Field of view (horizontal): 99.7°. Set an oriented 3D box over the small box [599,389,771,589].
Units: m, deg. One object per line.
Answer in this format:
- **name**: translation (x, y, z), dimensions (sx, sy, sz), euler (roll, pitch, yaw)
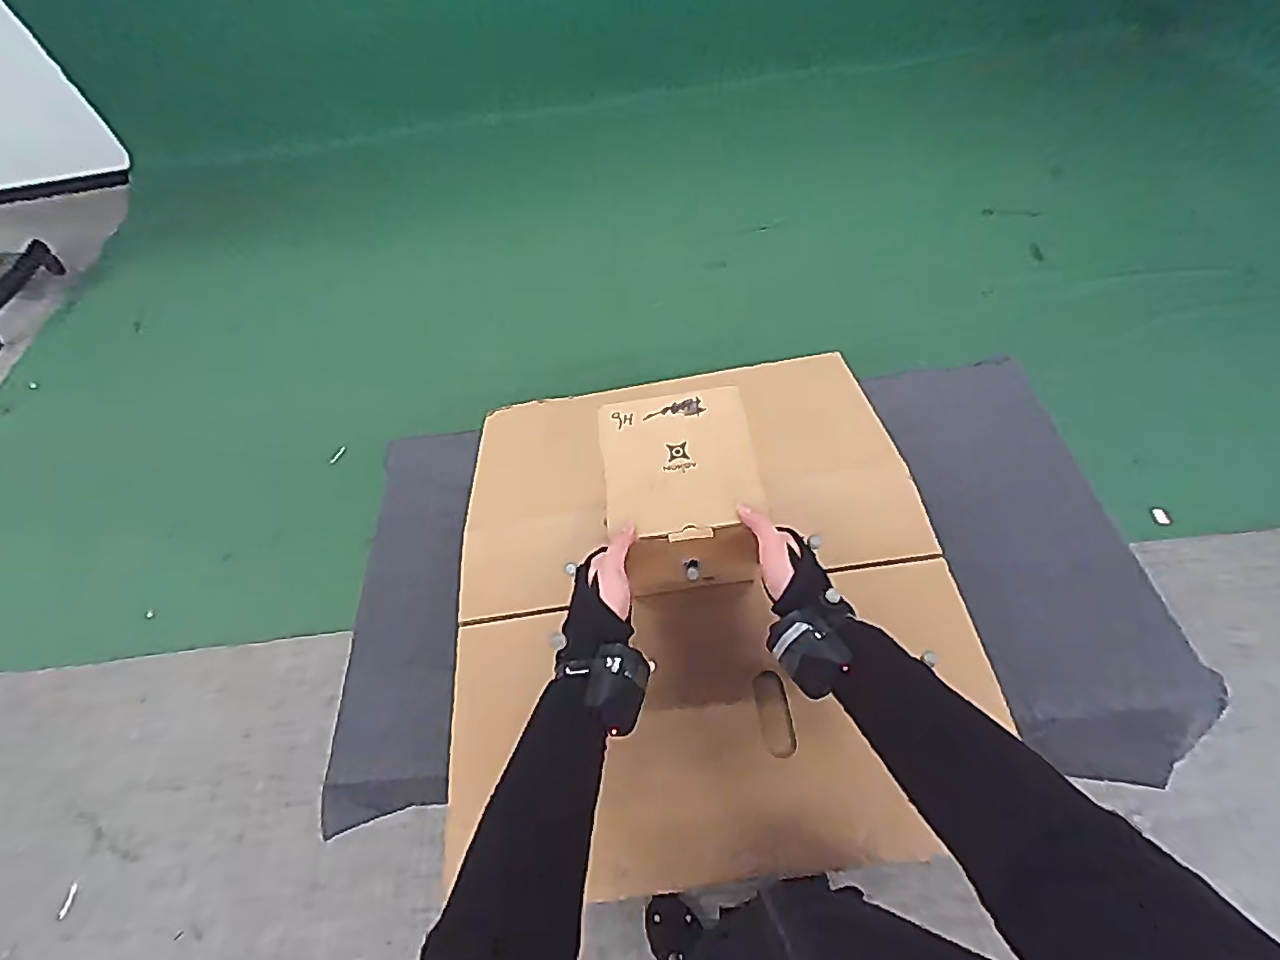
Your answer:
- **small box**: translation (0.053, 0.022, 0.655), dimensions (0.168, 0.176, 0.179), euler (-11, 60, 1)
